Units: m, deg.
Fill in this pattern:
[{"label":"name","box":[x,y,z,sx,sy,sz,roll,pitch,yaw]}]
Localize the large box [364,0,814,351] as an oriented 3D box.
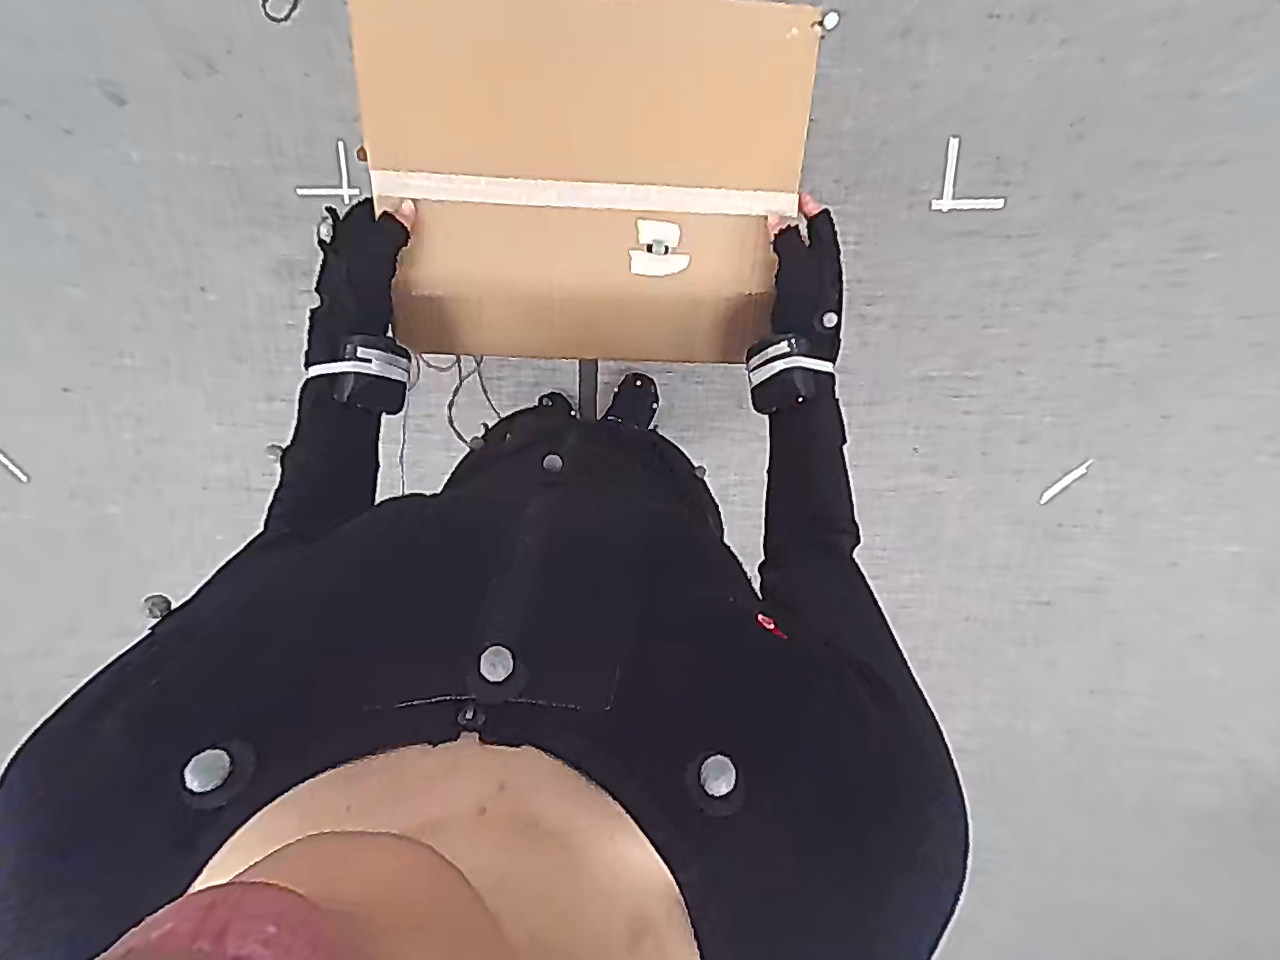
[{"label":"large box","box":[-0.056,-0.341,0.666,0.408,0.320,0.320,0,113,-5]}]
